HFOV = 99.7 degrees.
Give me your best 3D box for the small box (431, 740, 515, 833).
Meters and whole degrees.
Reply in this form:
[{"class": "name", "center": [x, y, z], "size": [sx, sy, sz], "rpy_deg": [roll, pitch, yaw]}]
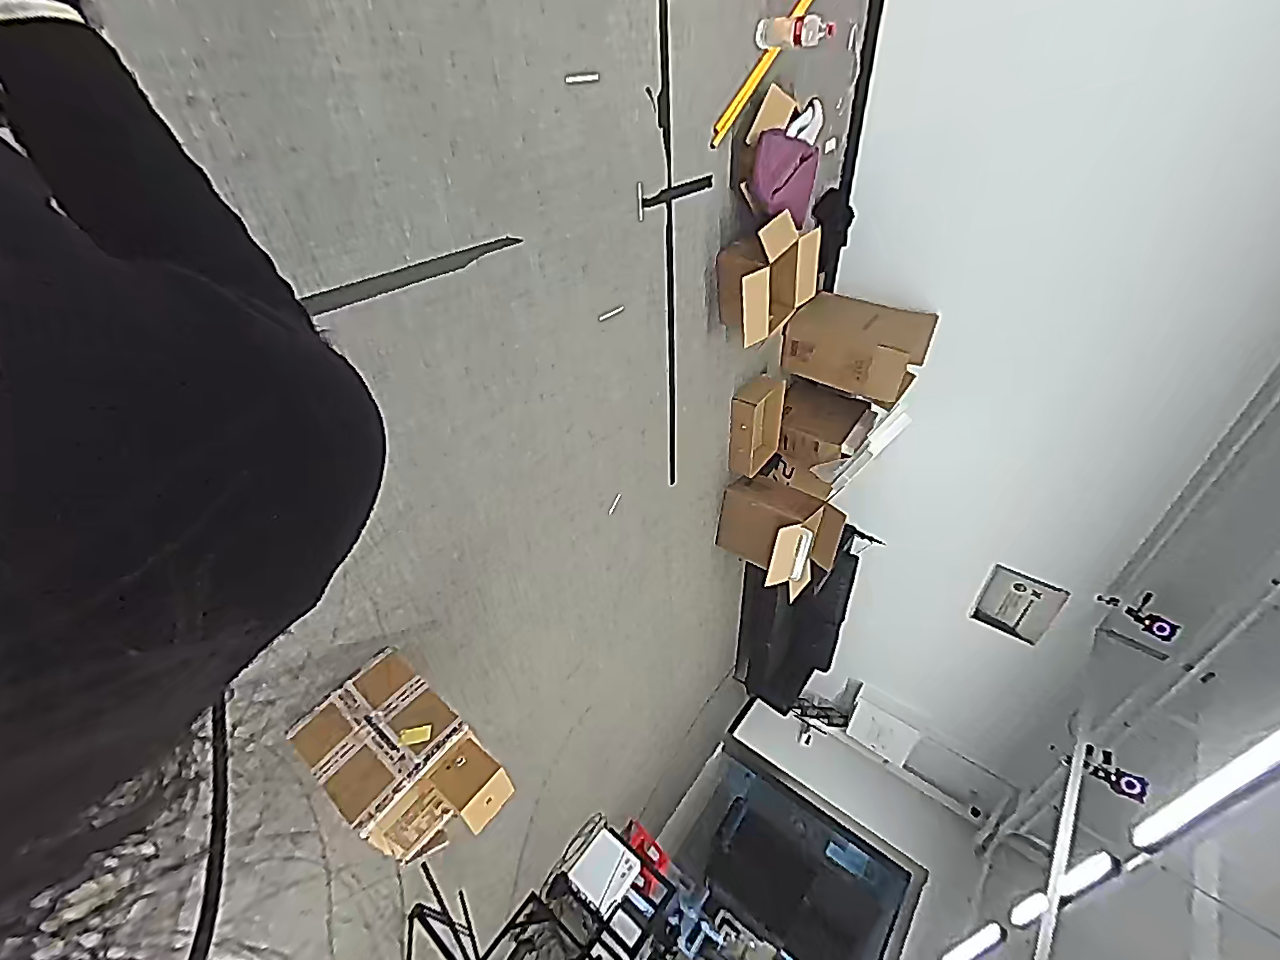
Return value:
[{"class": "small box", "center": [-0.534, 0.973, 1.729], "size": [0.168, 0.176, 0.179], "rpy_deg": [-42, 138, -36]}]
